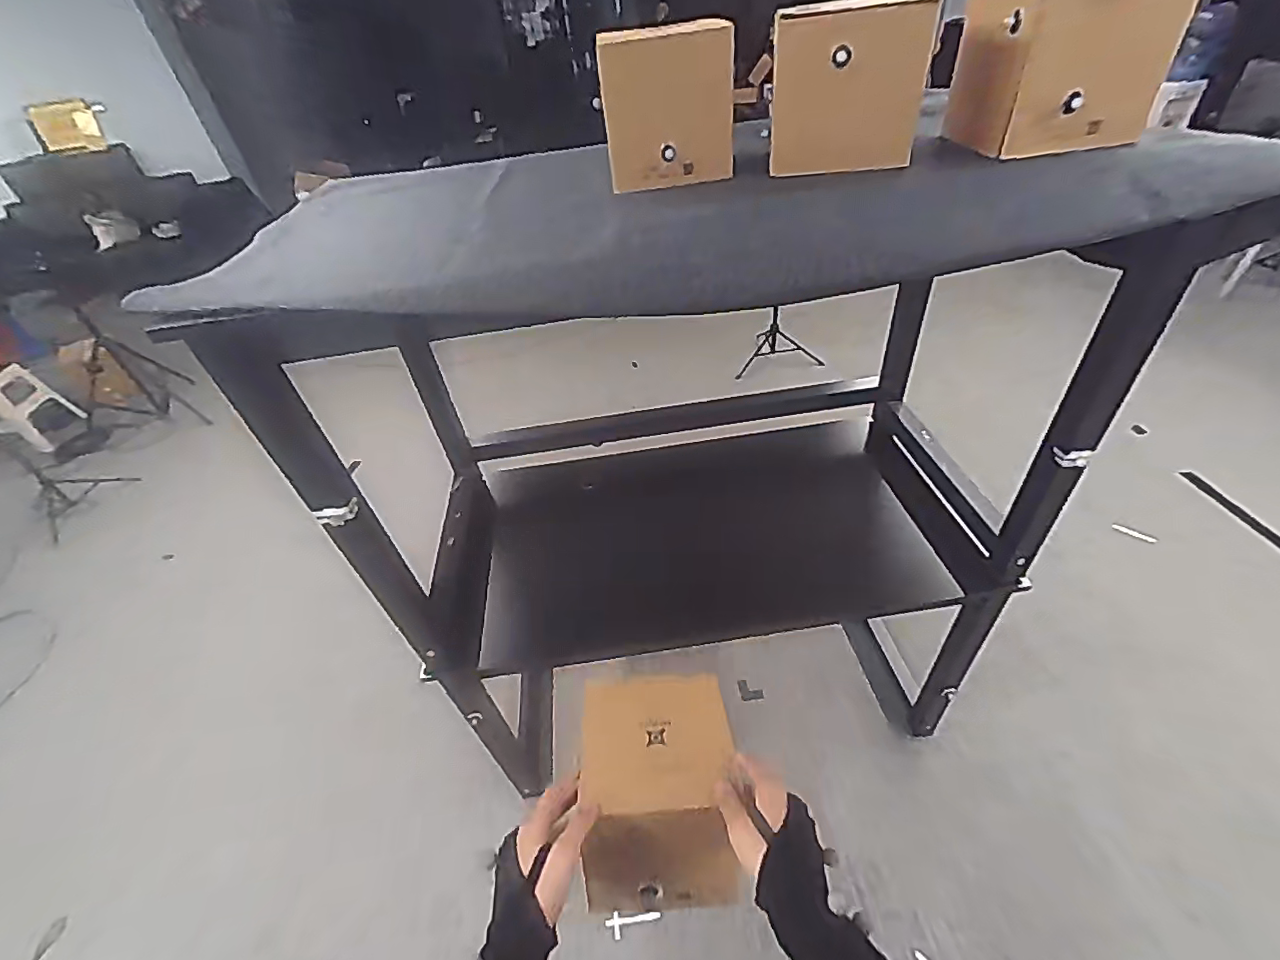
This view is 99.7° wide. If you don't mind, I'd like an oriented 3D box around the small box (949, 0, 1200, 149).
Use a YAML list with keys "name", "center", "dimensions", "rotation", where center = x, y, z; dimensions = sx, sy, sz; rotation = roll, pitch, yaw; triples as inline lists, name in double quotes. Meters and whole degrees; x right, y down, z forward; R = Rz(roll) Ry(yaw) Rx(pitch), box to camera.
- name: "small box"
  center: [0.513, -0.522, 0.664]
  dimensions: [0.168, 0.176, 0.179]
  rotation: [-5, 42, 4]

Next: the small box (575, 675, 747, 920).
- name: "small box"
  center: [0.018, 0.350, 0.615]
  dimensions: [0.168, 0.176, 0.179]
  rotation: [-3, 24, -2]

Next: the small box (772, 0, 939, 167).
- name: "small box"
  center: [0.264, -0.520, 0.702]
  dimensions: [0.179, 0.176, 0.168]
  rotation: [3, 43, 11]
